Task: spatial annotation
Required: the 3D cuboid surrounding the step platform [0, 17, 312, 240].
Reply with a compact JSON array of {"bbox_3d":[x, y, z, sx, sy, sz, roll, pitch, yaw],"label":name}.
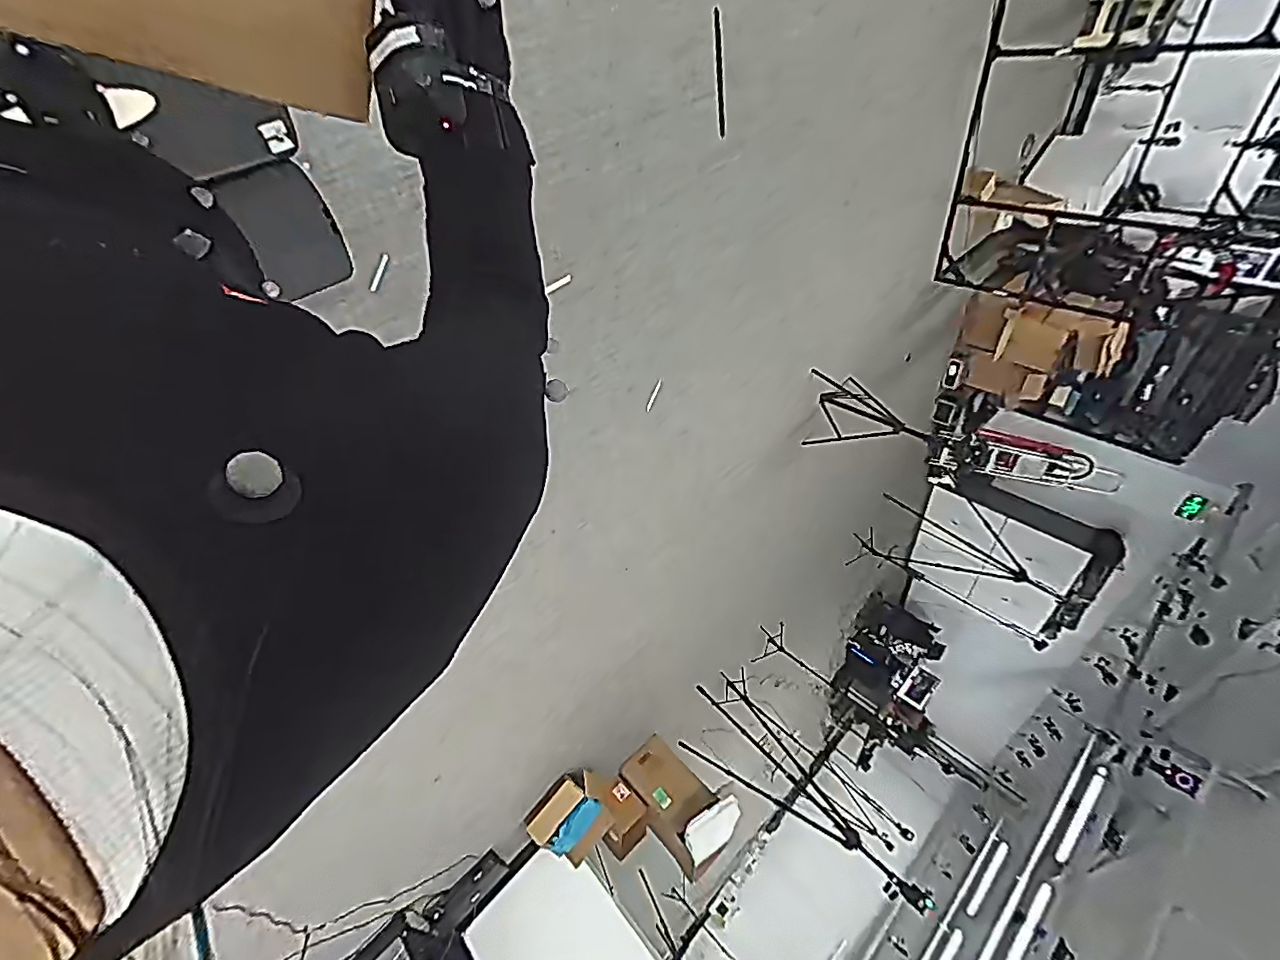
[{"bbox_3d":[-0.990,-0.675,0.972,0.684,0.204,0.286,-39,140,-25],"label":"step platform"}]
